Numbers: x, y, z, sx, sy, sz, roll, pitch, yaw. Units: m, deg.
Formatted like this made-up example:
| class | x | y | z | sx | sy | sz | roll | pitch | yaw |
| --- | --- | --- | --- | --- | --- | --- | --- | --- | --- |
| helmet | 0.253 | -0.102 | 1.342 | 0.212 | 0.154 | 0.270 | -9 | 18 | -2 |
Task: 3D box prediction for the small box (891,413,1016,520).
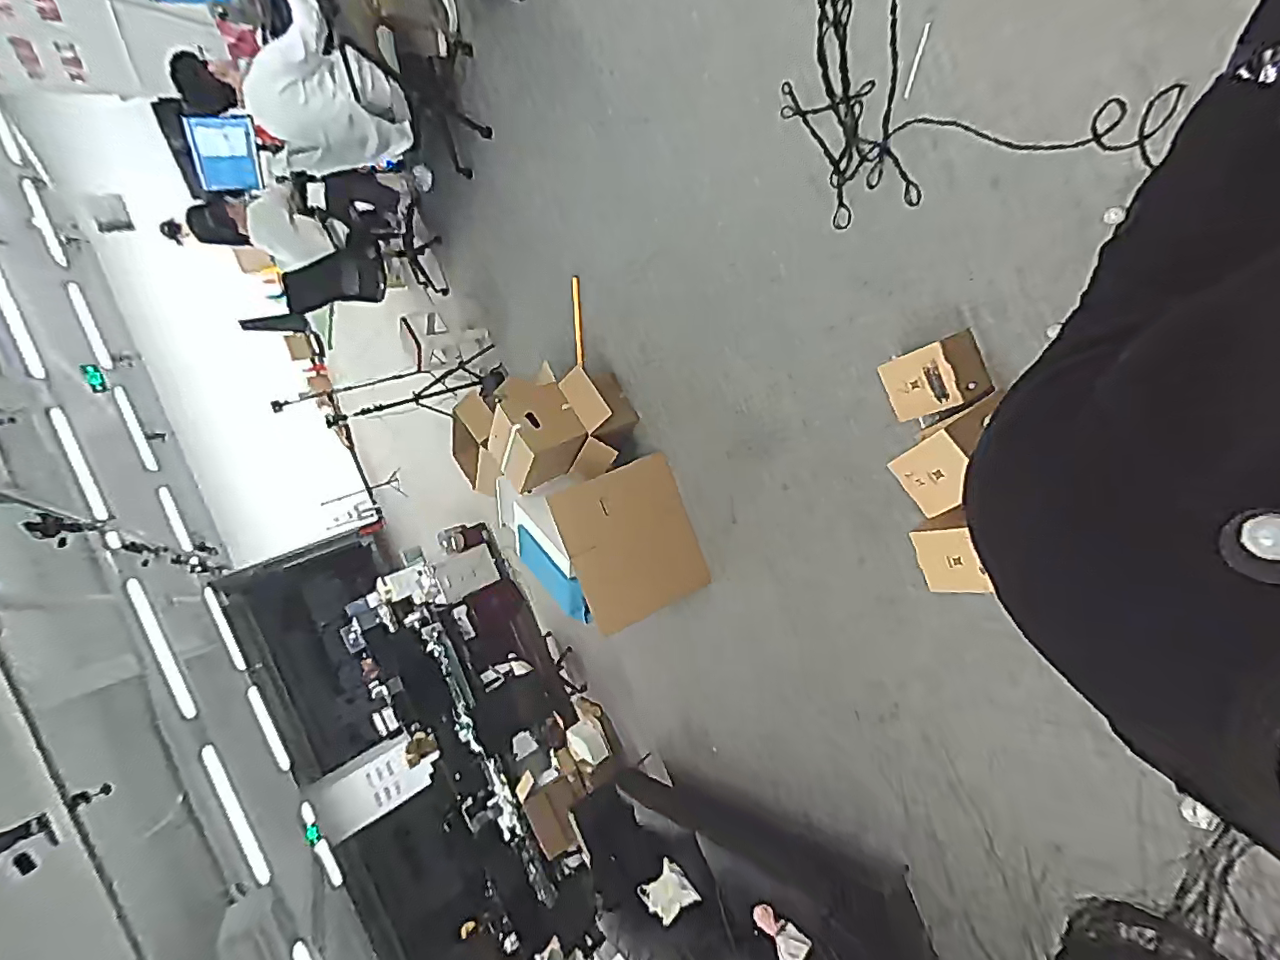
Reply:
| class | x | y | z | sx | sy | sz | roll | pitch | yaw |
| --- | --- | --- | --- | --- | --- | --- | --- | --- | --- |
| small box | 0.751 | -0.035 | 1.286 | 0.168 | 0.176 | 0.179 | 57 | 147 | 13 |
